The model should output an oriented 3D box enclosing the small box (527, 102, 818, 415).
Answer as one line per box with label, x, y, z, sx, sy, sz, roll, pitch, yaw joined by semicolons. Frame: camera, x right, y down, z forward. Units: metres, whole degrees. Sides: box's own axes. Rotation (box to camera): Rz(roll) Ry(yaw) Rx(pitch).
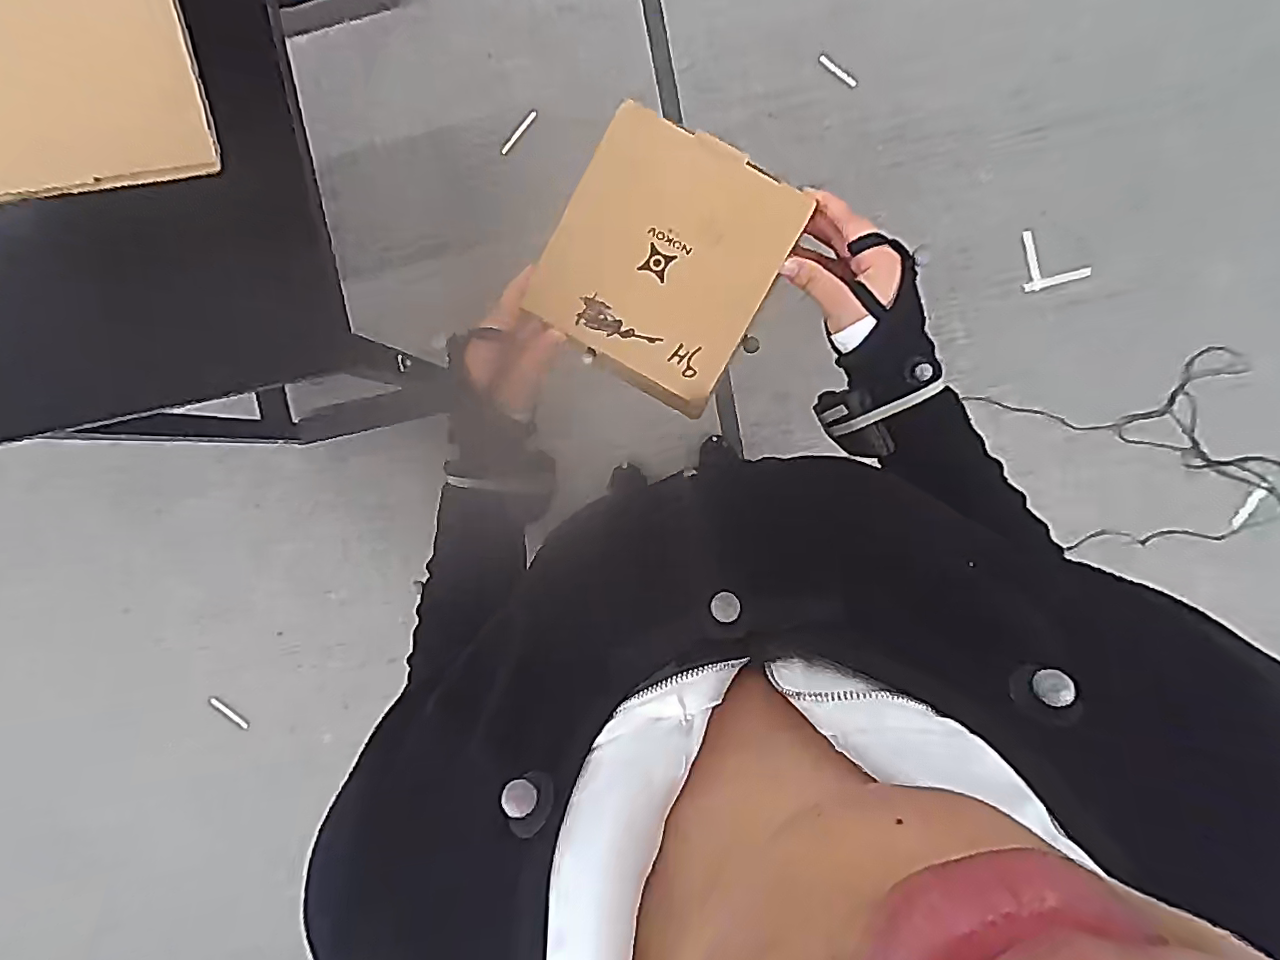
small box;0.028;-0.176;0.489;0.168;0.176;0.179;29;95;4
